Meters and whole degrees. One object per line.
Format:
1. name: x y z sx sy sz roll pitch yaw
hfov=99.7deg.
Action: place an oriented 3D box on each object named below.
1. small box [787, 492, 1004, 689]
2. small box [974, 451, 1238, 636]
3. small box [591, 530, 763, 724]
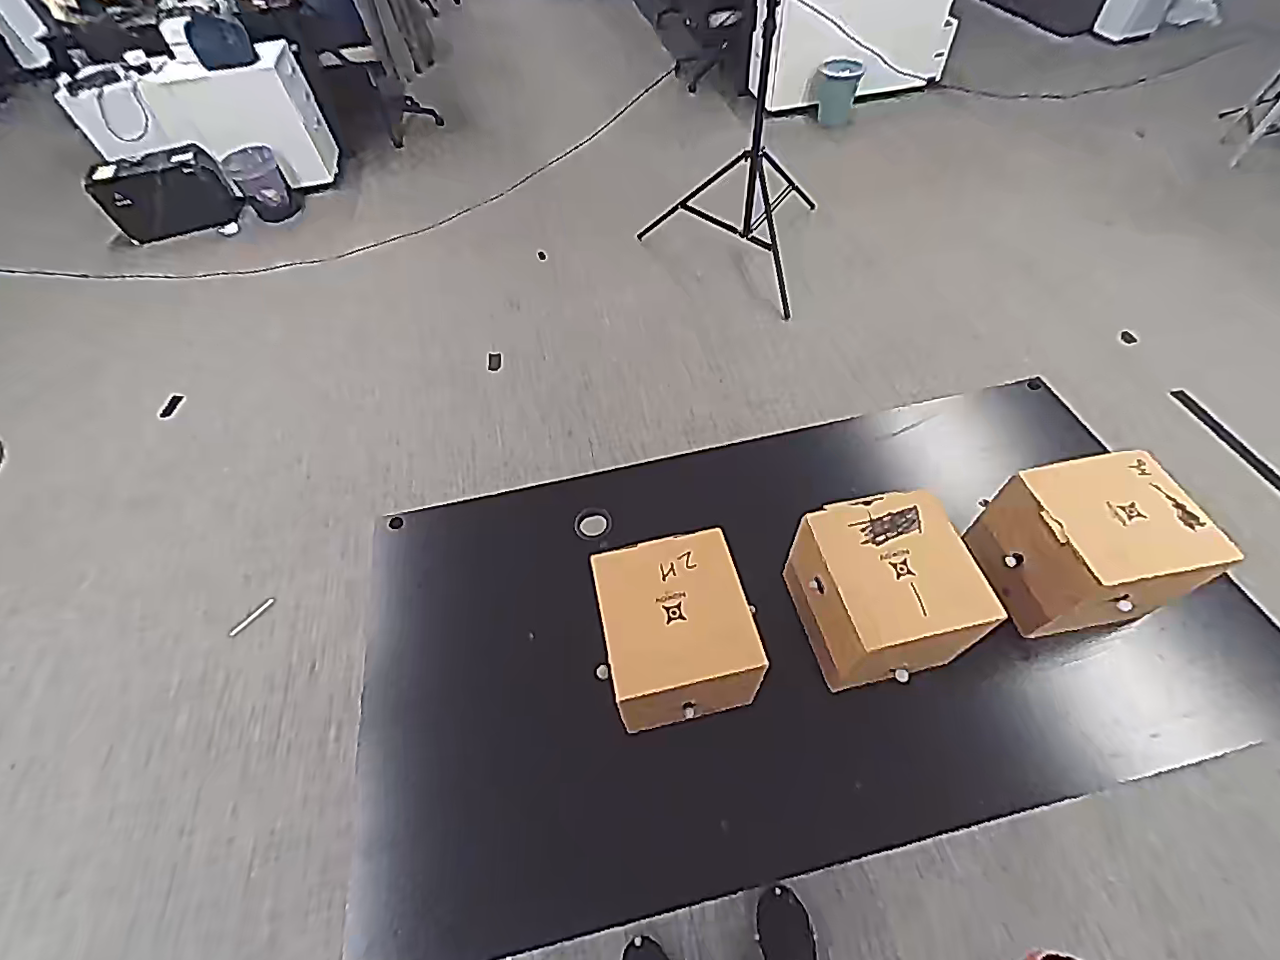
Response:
1. small box: 0.302 0.144 0.690 0.168 0.176 0.179 -12 55 -4
2. small box: 0.577 0.089 0.709 0.179 0.176 0.168 -11 54 -2
3. small box: 0.041 0.191 0.676 0.168 0.176 0.179 -11 54 -5
